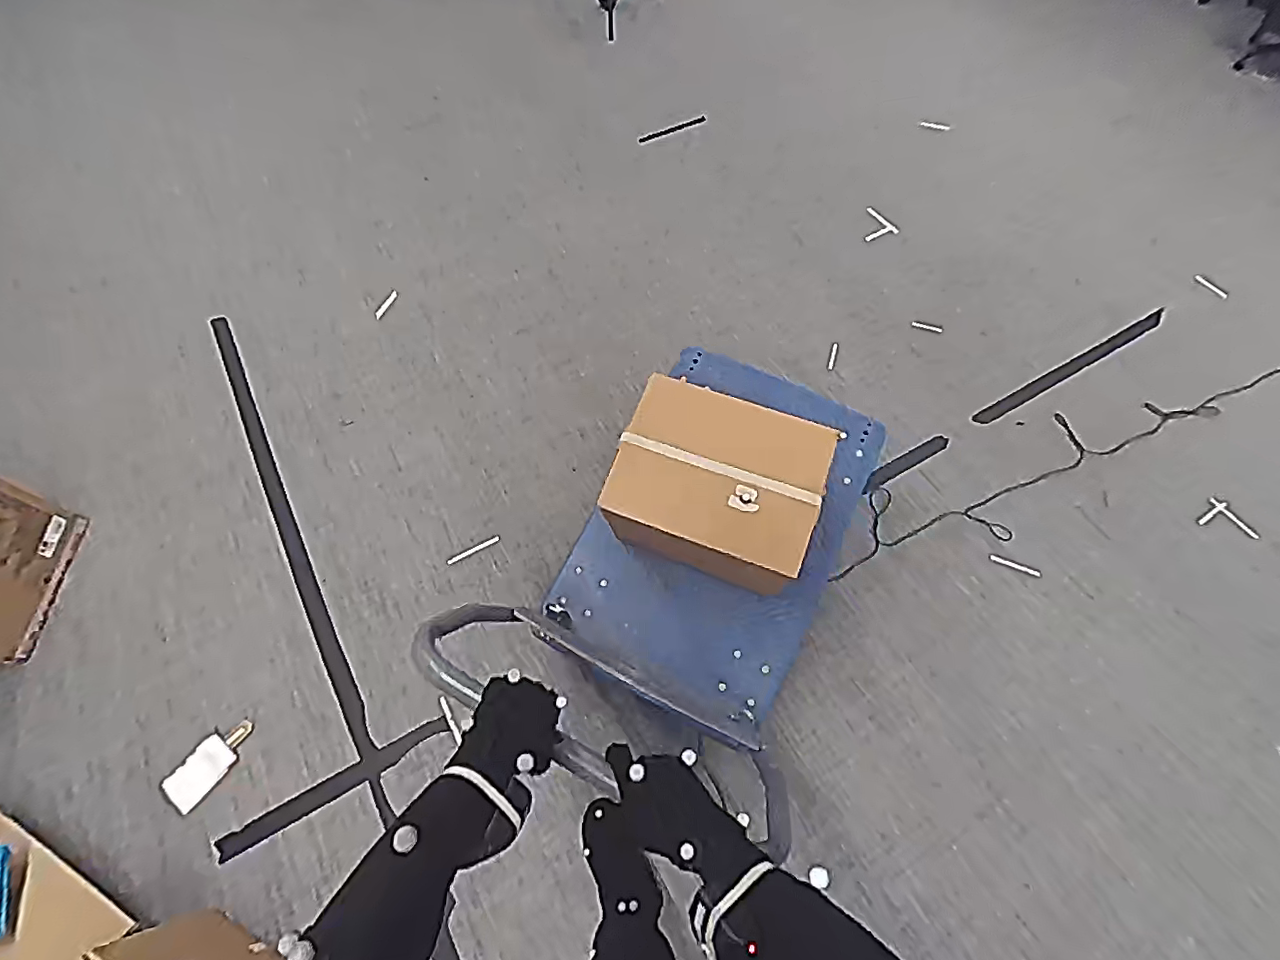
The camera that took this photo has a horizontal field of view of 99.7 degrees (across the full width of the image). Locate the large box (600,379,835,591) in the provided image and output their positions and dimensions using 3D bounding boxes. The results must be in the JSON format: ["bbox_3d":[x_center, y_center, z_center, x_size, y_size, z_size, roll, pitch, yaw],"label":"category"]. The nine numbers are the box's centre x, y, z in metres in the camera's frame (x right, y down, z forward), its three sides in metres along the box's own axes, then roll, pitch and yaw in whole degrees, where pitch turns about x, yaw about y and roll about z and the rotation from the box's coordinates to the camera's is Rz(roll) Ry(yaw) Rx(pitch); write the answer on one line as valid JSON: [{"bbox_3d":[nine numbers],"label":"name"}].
[{"bbox_3d":[0.162,0.025,1.211,0.408,0.320,0.320,18,75,9],"label":"large box"}]
